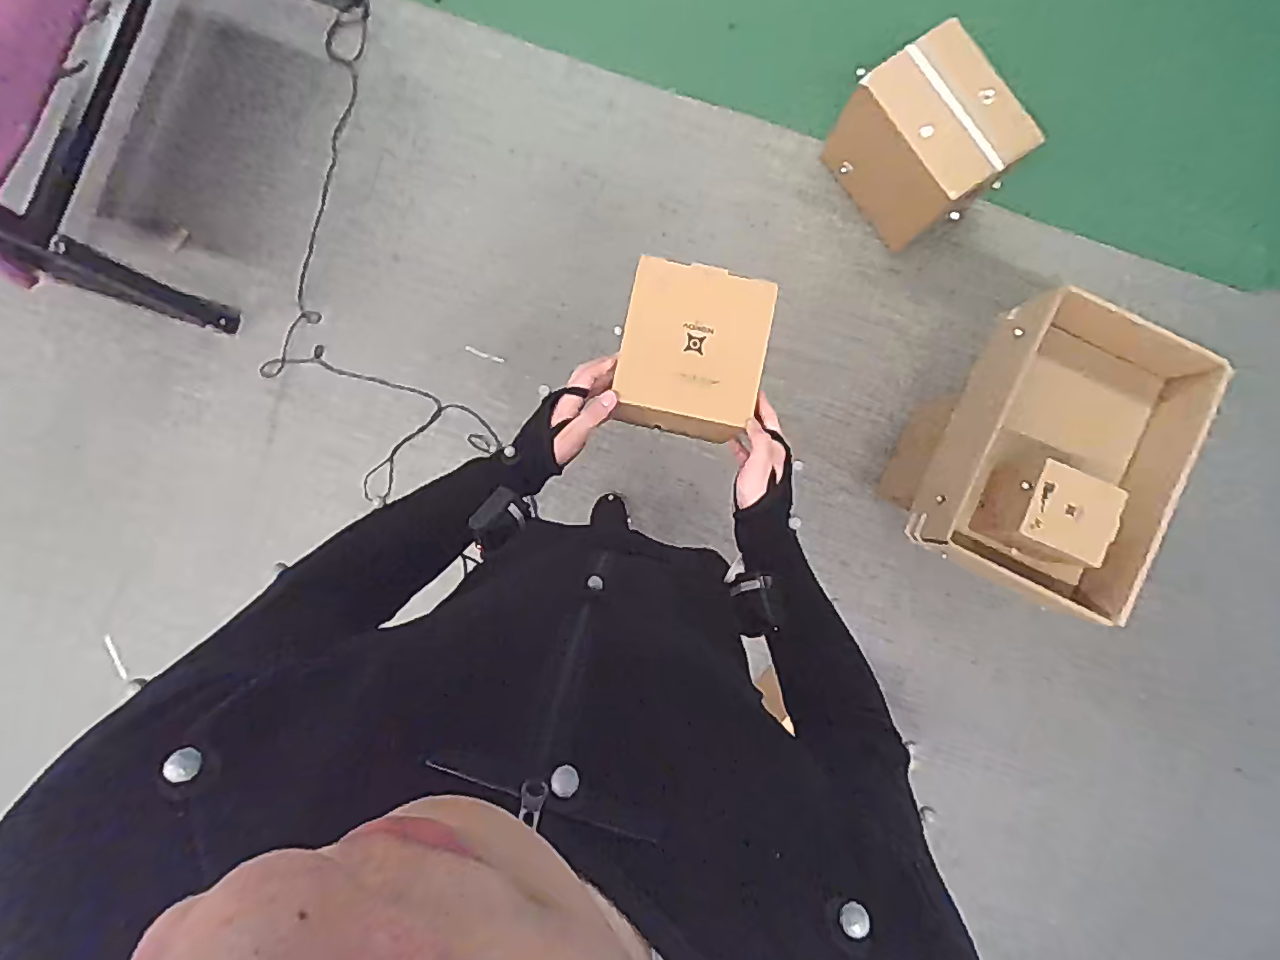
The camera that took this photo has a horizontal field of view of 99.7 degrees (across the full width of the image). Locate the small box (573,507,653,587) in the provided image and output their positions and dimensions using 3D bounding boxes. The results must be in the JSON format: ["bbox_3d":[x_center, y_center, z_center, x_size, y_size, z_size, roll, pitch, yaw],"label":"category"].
[{"bbox_3d":[-0.078,0.195,1.575,0.179,0.176,0.168,39,86,8],"label":"small box"}]

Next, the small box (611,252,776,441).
[{"bbox_3d":[0.058,-0.157,0.695,0.168,0.176,0.179,11,88,-2],"label":"small box"}]
